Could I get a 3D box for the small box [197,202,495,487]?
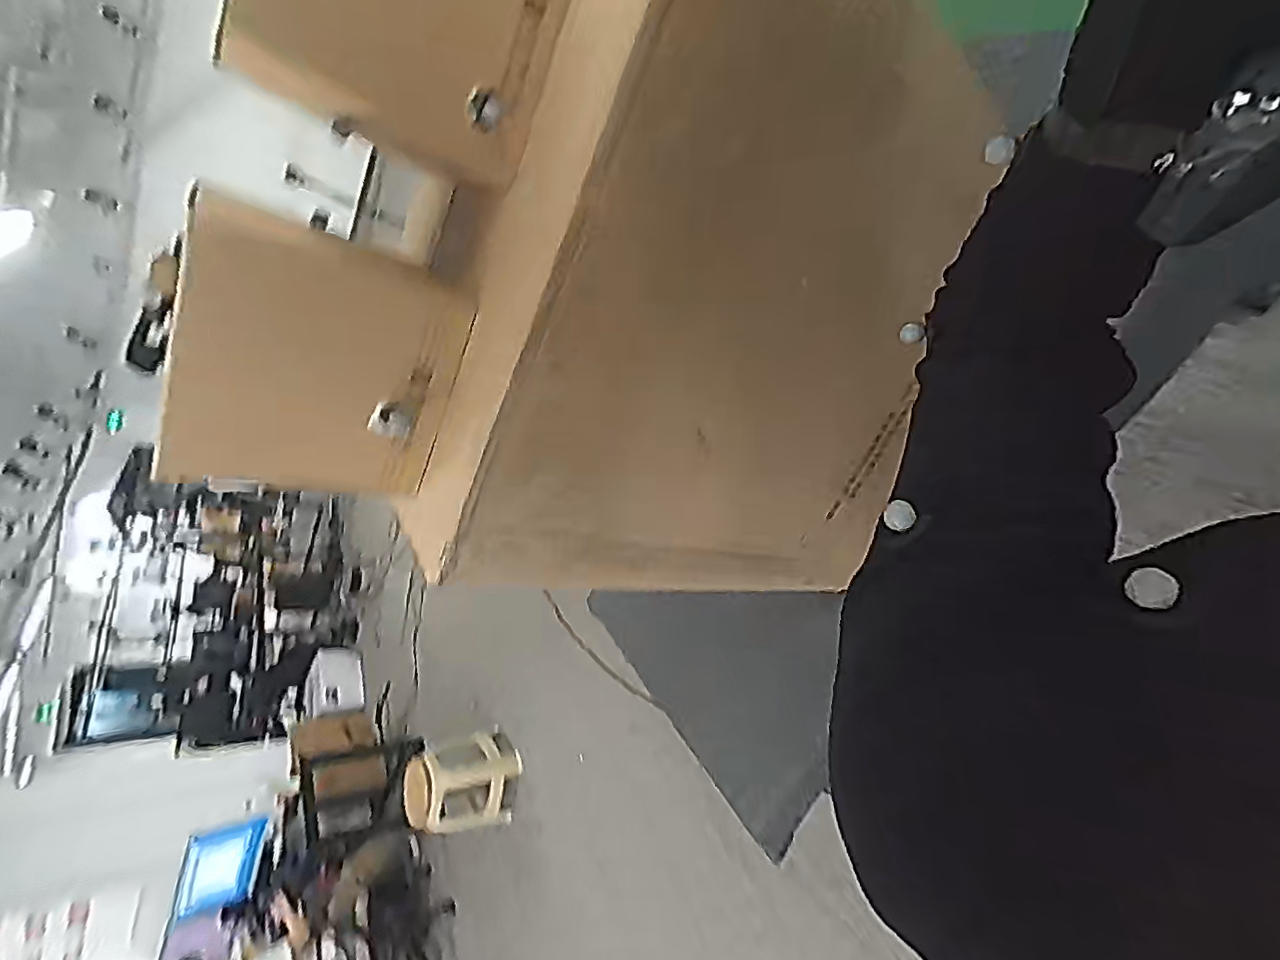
[{"bbox_3d":[-0.244,-0.103,0.446,0.179,0.176,0.168,40,115,44],"label":"small box"}]
